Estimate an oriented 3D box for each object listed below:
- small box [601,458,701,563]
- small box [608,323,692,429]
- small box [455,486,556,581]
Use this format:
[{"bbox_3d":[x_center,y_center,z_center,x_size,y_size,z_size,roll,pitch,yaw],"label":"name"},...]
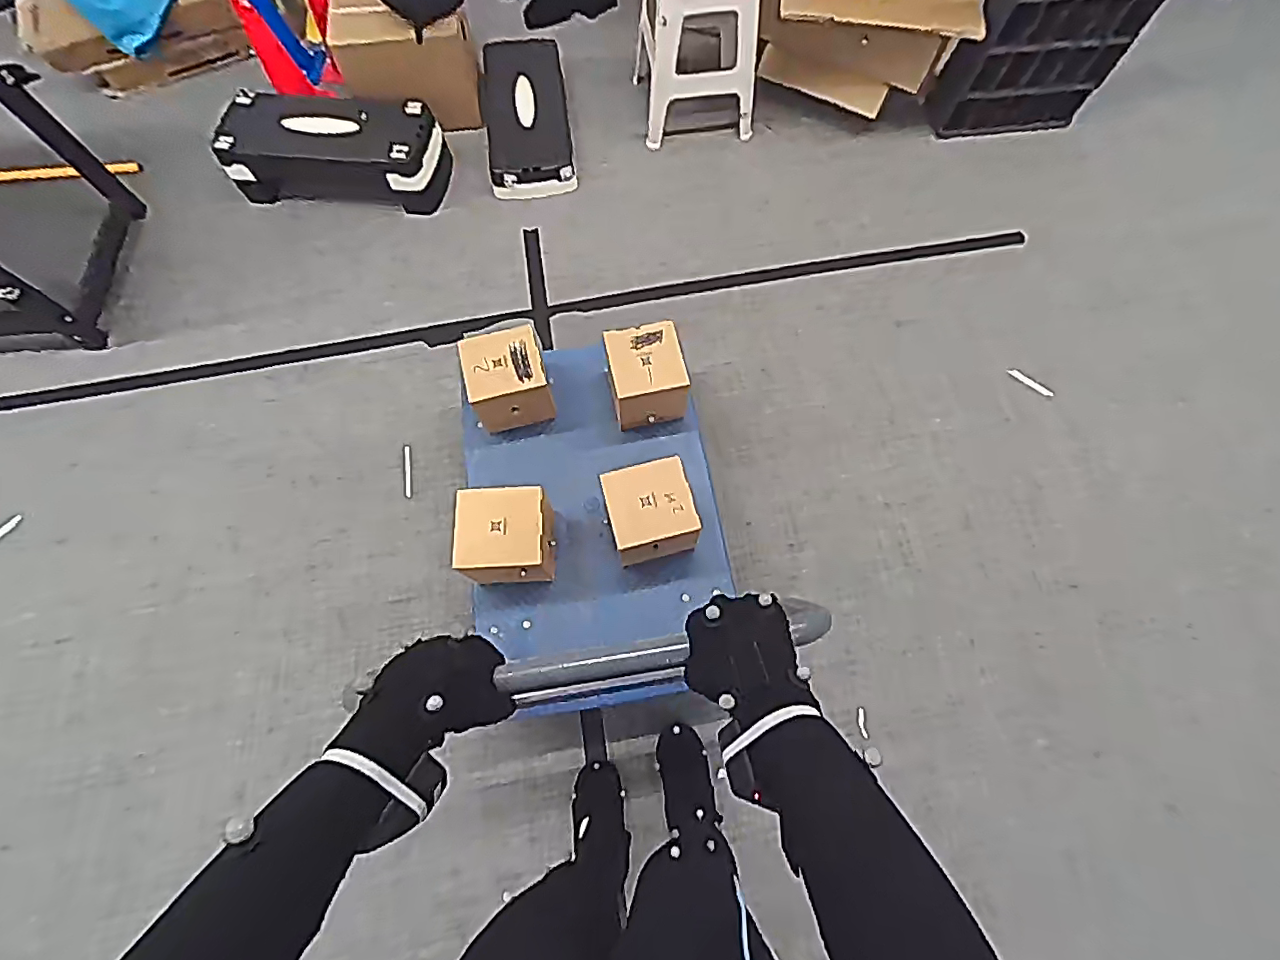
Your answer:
[{"bbox_3d":[0.022,0.073,1.179,0.179,0.176,0.168,-13,71,-5],"label":"small box"},{"bbox_3d":[0.018,-0.244,1.295,0.168,0.176,0.179,-11,71,-4],"label":"small box"},{"bbox_3d":[-0.280,0.120,1.162,0.179,0.176,0.168,-2,70,-2],"label":"small box"}]
